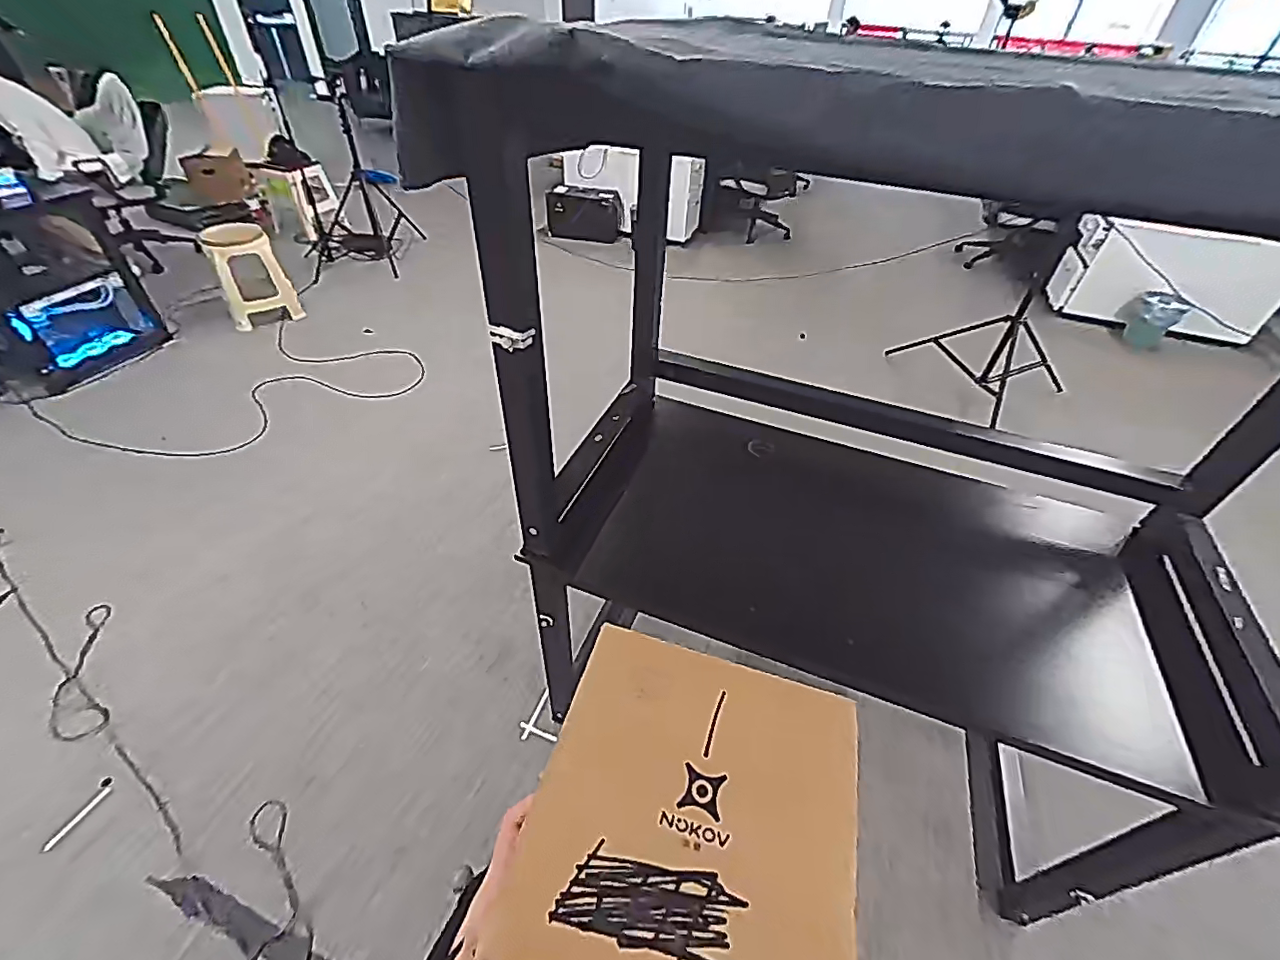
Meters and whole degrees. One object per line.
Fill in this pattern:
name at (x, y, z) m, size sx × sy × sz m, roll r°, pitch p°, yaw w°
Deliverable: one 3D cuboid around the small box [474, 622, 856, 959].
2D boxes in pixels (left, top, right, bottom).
small box at (0.023, 0.227, 0.338) m, size 0.168 × 0.176 × 0.179 m, roll 15°, pitch 44°, yaw 9°
